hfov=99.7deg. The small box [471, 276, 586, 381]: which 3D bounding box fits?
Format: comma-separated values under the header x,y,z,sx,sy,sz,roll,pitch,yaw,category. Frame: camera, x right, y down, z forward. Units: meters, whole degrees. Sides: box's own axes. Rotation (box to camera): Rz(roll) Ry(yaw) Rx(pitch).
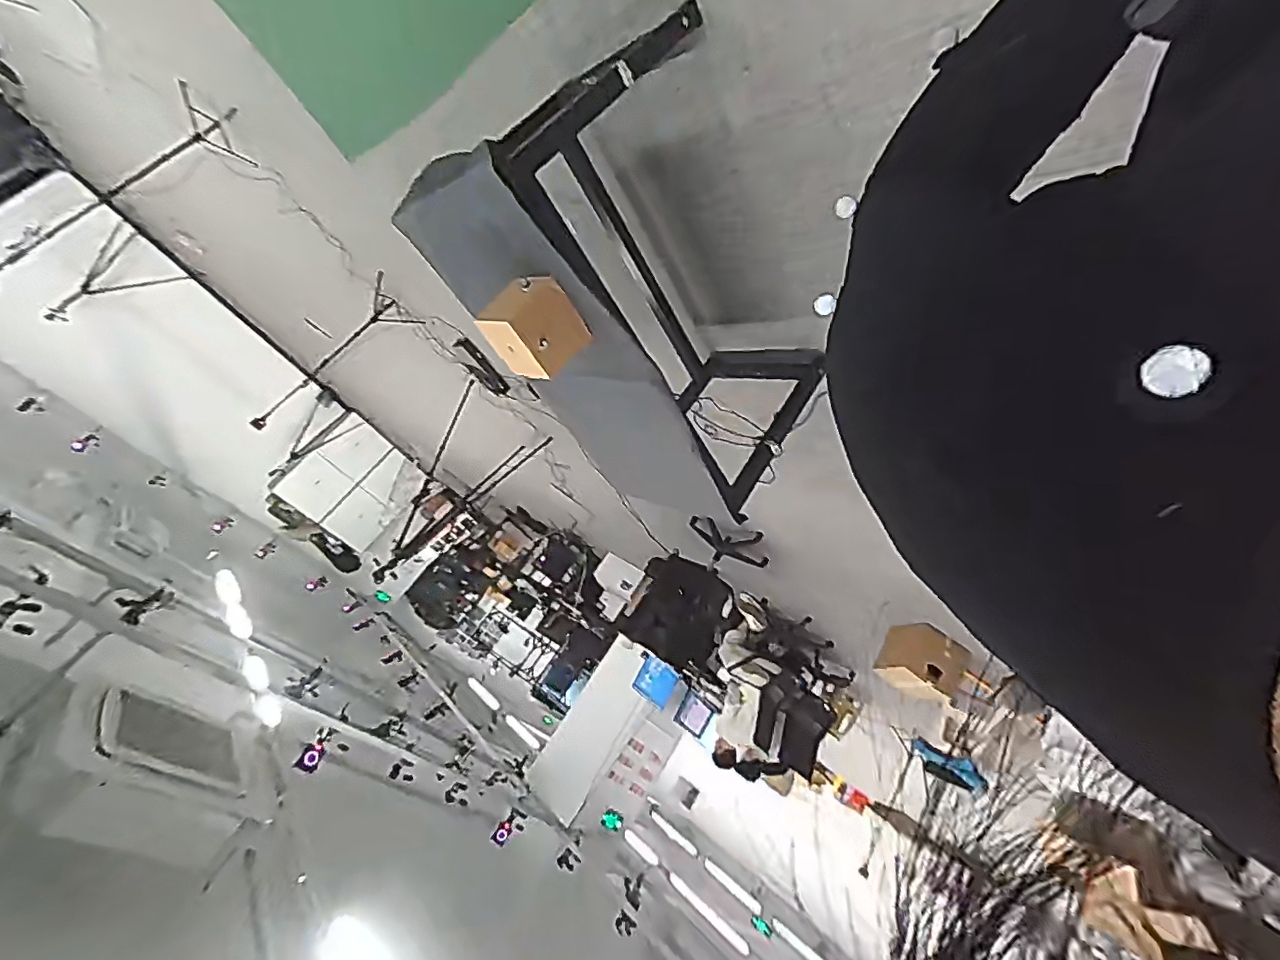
x,y,z,sx,sy,sz,roll,pitch,yaw,category
-0.261,-0.364,1.302,0.168,0.176,0.179,16,151,43,small box
